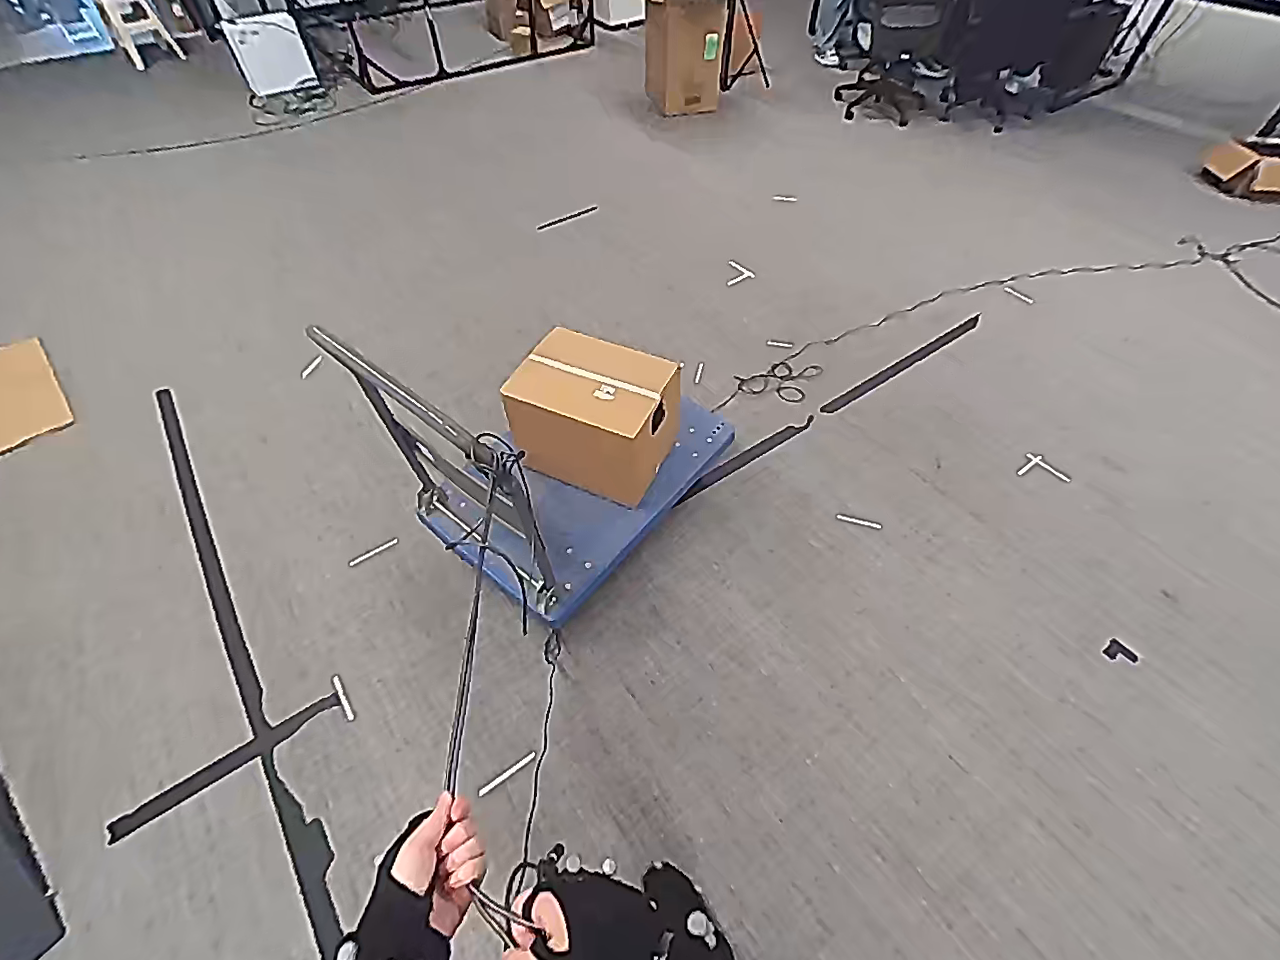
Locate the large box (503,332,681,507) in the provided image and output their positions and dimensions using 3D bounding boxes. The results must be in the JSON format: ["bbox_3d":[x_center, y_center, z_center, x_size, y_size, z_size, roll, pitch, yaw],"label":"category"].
[{"bbox_3d":[-0.129,-0.177,1.589,0.408,0.320,0.320,21,55,14],"label":"large box"}]
